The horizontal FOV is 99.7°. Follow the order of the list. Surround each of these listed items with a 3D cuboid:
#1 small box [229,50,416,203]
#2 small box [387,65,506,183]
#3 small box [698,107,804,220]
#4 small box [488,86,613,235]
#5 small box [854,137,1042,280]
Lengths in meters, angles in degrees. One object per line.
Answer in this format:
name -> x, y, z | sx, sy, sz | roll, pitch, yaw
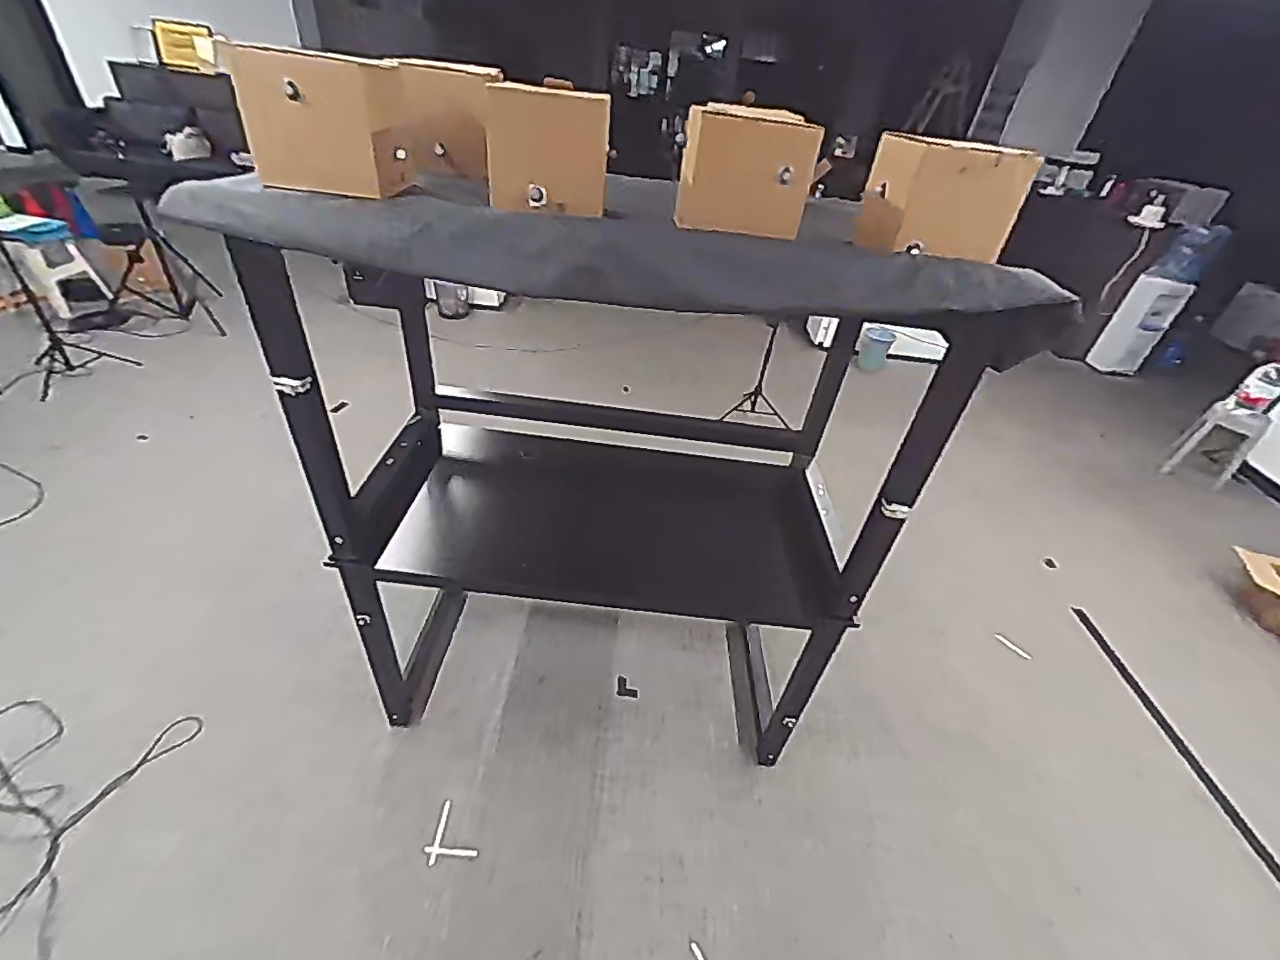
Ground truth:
small box -> -0.460, -0.529, 0.819 | 0.179, 0.176, 0.168 | 5, 36, -5
small box -> -0.363, -0.690, 1.053 | 0.179, 0.176, 0.168 | 6, 37, -4
small box -> 0.211, -0.632, 1.080 | 0.168, 0.176, 0.179 | 6, 37, -2
small box -> -0.131, -0.491, 0.832 | 0.168, 0.176, 0.179 | 3, 36, -4
small box -> 0.462, -0.424, 0.845 | 0.168, 0.176, 0.179 | 5, 36, -3
